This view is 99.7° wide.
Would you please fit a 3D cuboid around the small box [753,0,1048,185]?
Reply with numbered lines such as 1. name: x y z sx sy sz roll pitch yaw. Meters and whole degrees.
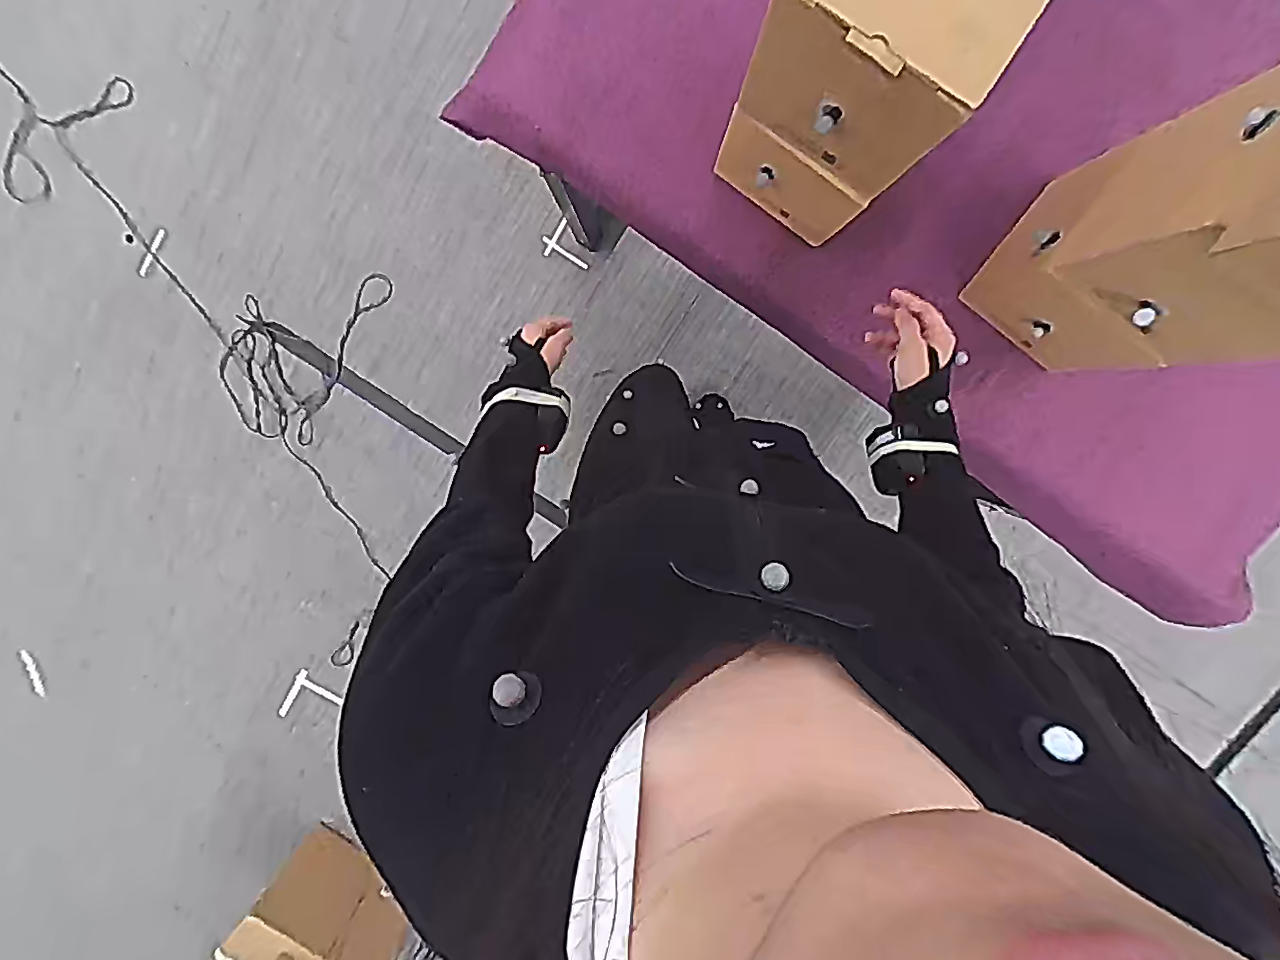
1. small box: 0.209 -0.381 0.437 0.168 0.176 0.179 32 98 -5

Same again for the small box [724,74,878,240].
1. small box: 0.208 -0.401 0.599 0.168 0.176 0.179 34 97 -5

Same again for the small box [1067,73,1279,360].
1. small box: 0.530 -0.221 0.458 0.168 0.176 0.179 36 99 -5

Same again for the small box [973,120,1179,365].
1. small box: 0.528 -0.247 0.620 0.168 0.176 0.179 36 98 -6
